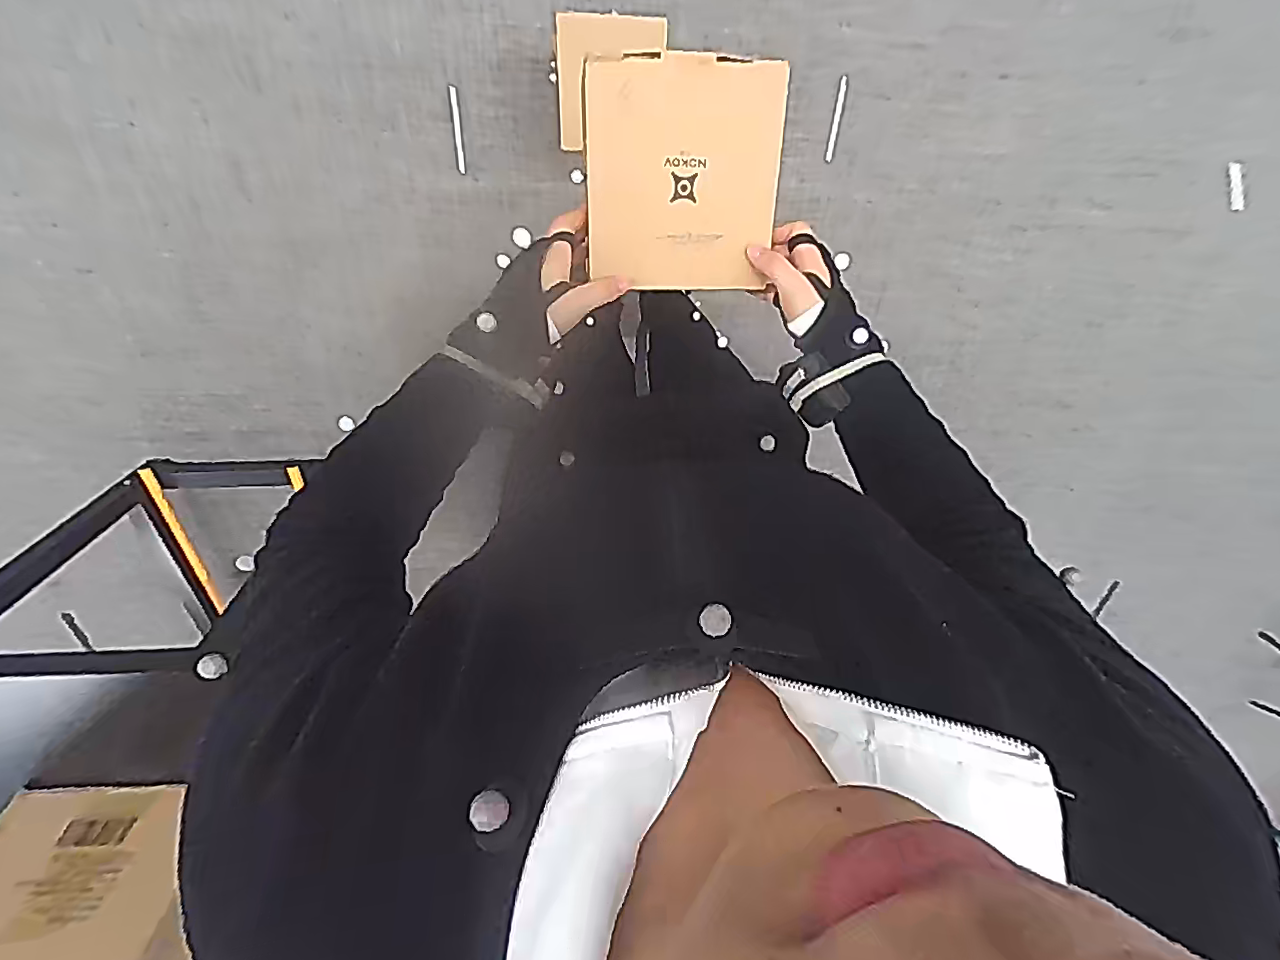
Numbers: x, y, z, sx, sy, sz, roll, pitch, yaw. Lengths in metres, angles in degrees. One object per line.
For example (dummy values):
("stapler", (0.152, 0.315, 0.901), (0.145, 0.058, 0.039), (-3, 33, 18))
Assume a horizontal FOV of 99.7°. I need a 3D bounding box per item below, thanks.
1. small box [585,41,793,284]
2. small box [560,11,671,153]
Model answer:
("small box", (0.032, -0.292, 0.525), (0.168, 0.176, 0.179), (-2, 117, -5))
("small box", (-0.046, -0.643, 0.895), (0.168, 0.176, 0.179), (0, 124, -4))
